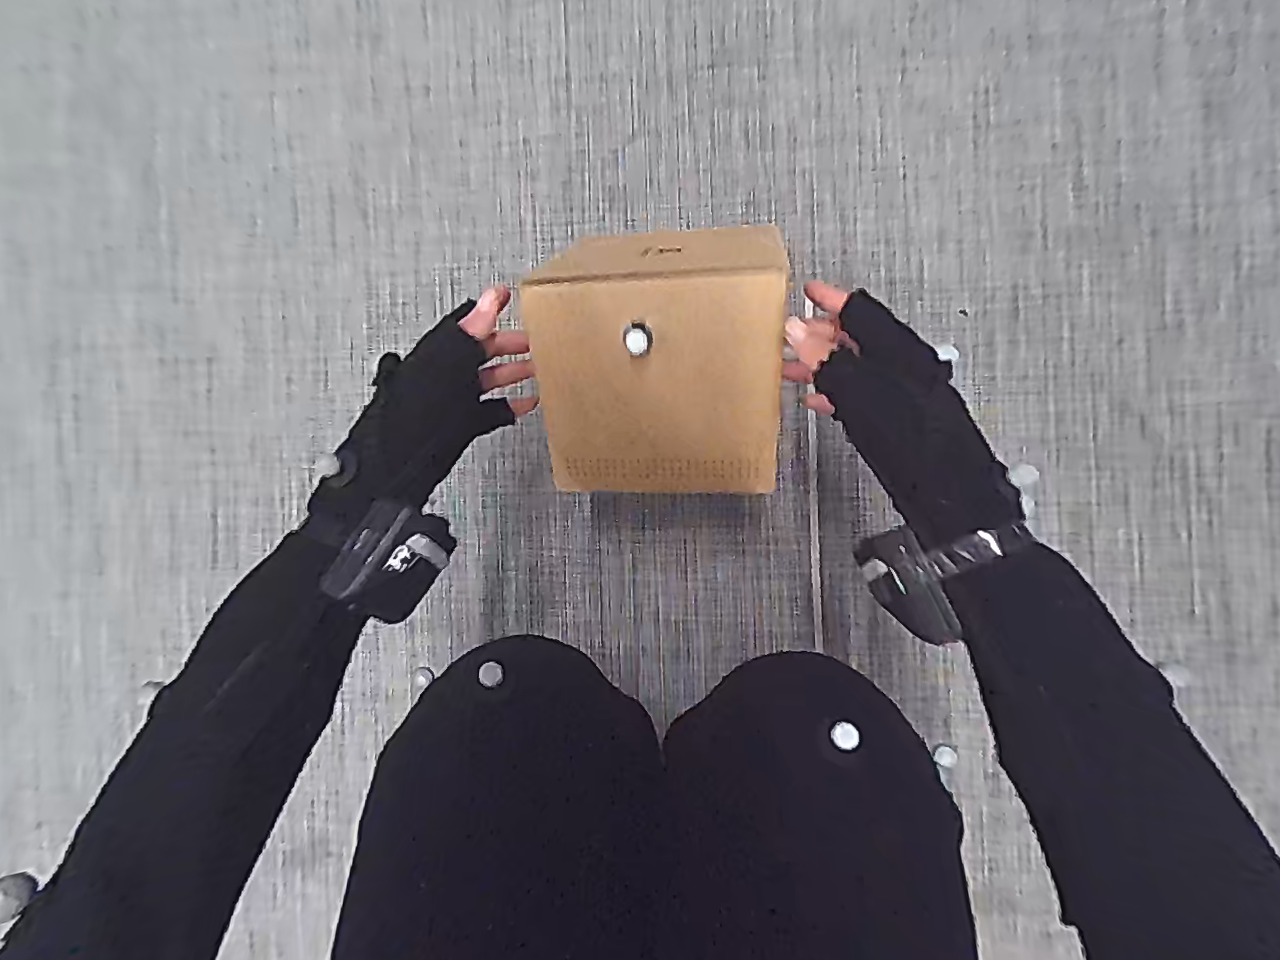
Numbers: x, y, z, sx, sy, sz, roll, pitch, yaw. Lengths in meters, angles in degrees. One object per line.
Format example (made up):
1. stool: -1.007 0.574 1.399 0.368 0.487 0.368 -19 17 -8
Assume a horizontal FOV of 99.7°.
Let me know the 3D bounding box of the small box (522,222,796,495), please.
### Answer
1. small box: 0.027 -0.100 0.446 0.179 0.168 0.176 1 126 10
